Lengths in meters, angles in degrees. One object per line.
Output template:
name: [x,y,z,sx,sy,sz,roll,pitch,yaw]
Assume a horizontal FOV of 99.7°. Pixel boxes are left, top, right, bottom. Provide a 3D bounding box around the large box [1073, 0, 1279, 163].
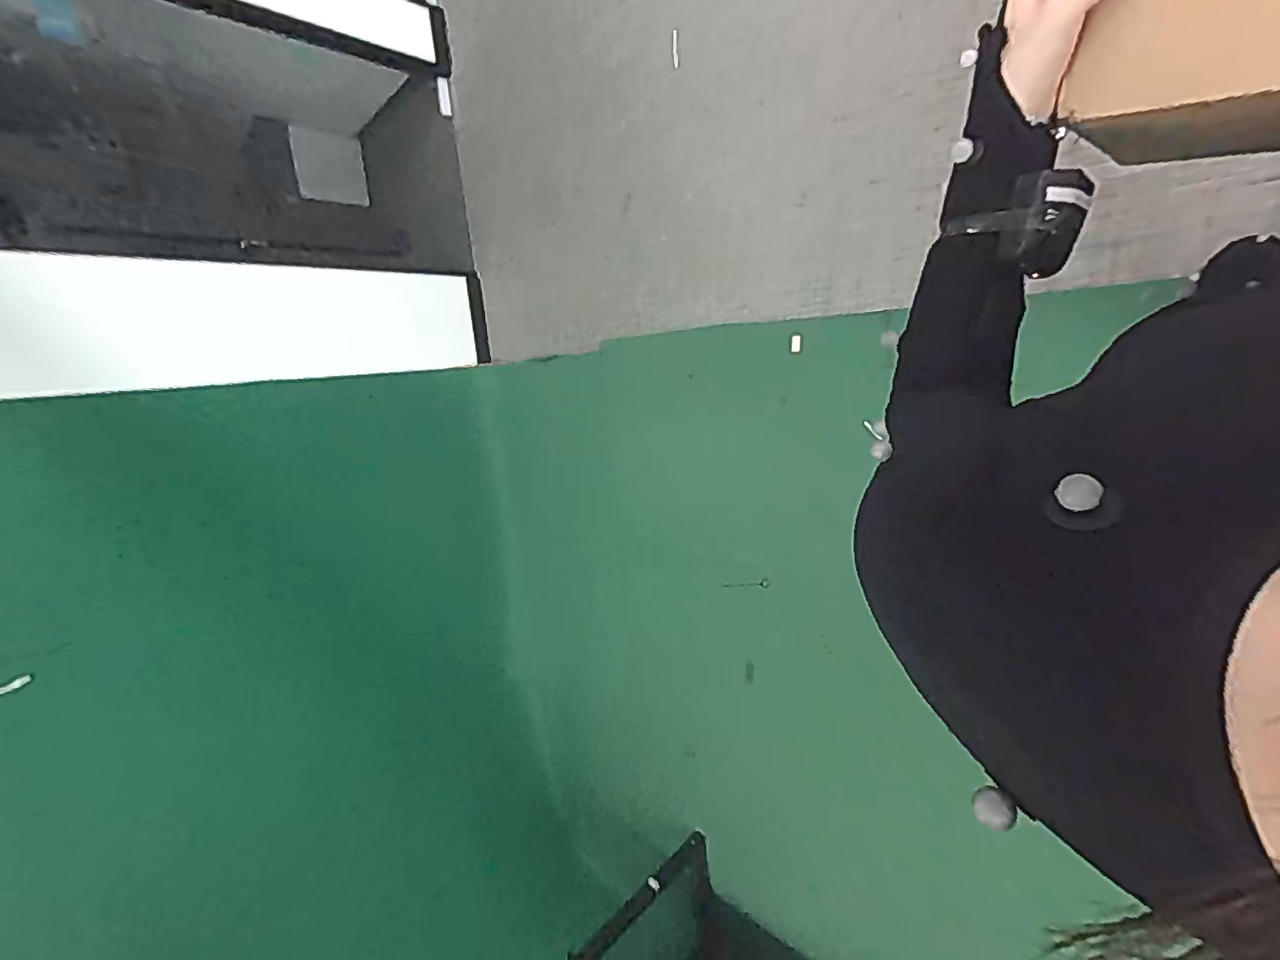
large box: [0.545,-0.397,0.299,0.408,0.320,0.320,19,120,41]
